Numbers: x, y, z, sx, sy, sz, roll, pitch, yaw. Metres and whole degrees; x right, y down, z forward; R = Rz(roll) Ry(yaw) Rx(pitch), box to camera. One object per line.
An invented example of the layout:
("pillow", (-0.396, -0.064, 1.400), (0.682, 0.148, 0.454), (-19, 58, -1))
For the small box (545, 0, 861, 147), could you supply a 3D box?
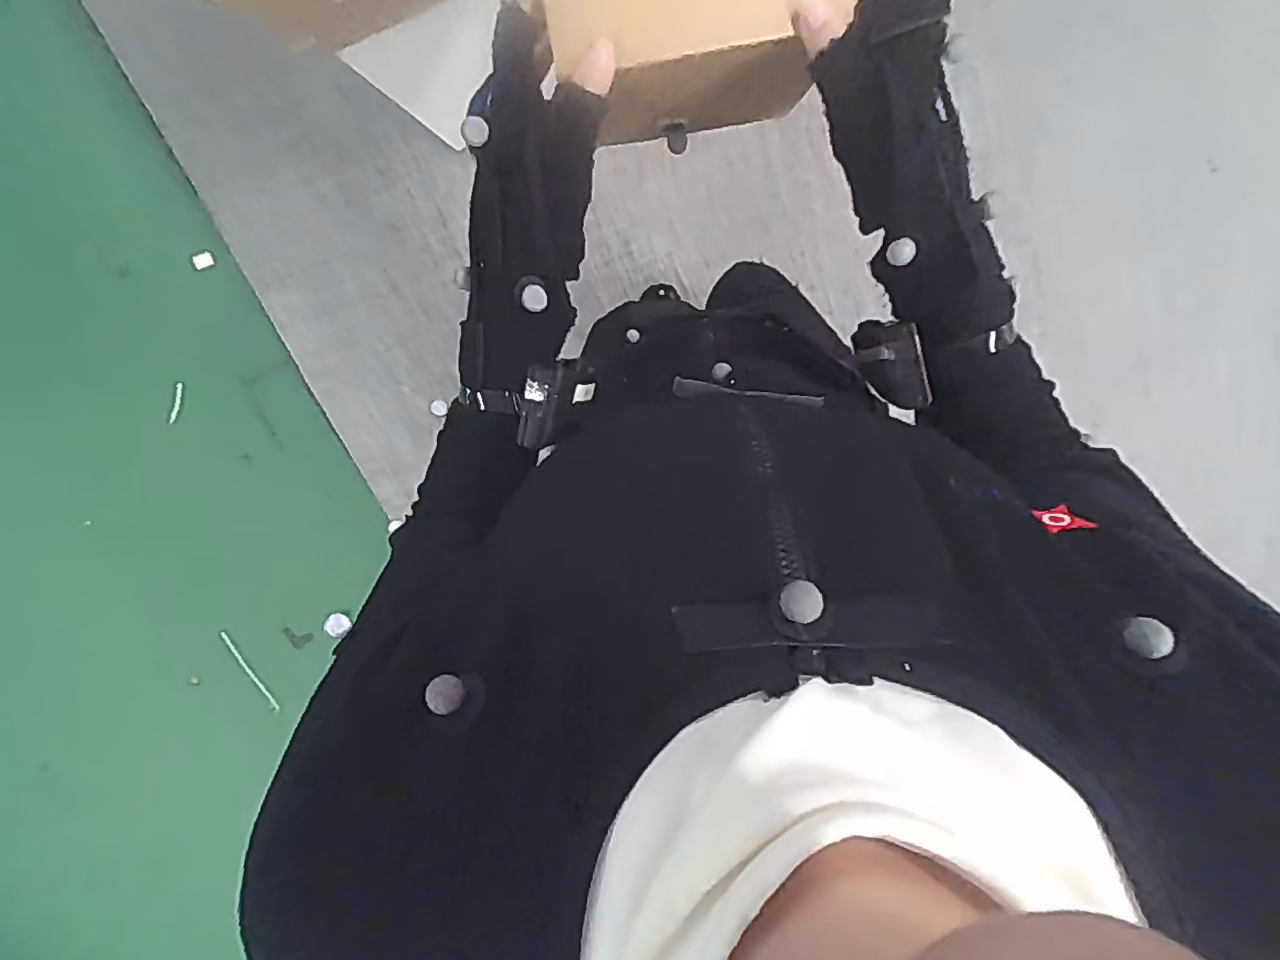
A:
("small box", (0.024, -0.335, 0.334), (0.168, 0.176, 0.179), (-7, 110, 3))
